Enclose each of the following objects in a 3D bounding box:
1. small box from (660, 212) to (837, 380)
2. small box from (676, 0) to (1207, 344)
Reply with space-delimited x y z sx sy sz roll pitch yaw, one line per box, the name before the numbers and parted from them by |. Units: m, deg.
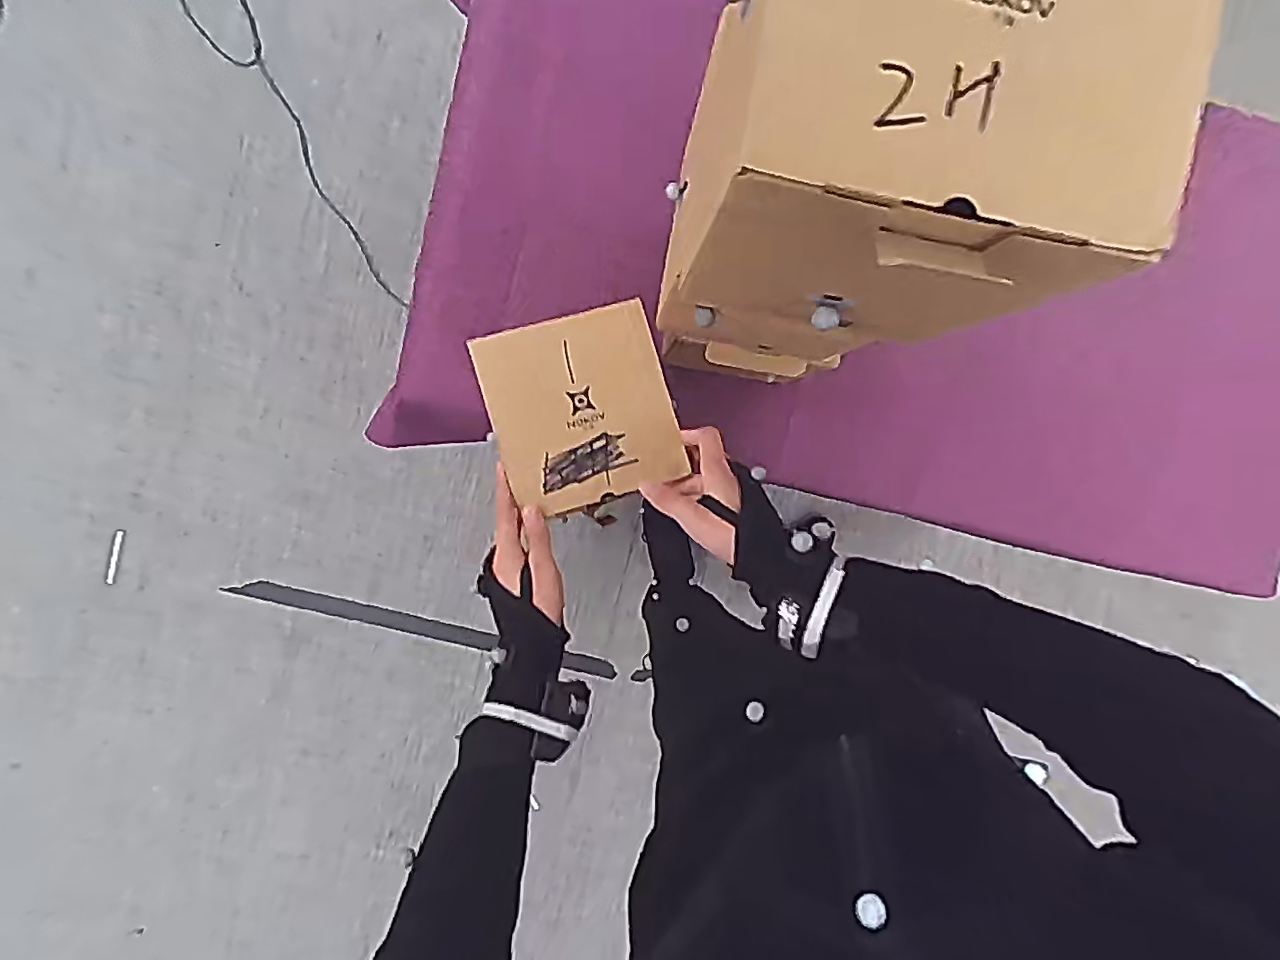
small box | 0.119 -0.214 0.603 0.168 0.176 0.179 9 94 -5
small box | 0.119 -0.183 0.273 0.168 0.176 0.179 10 93 -4
